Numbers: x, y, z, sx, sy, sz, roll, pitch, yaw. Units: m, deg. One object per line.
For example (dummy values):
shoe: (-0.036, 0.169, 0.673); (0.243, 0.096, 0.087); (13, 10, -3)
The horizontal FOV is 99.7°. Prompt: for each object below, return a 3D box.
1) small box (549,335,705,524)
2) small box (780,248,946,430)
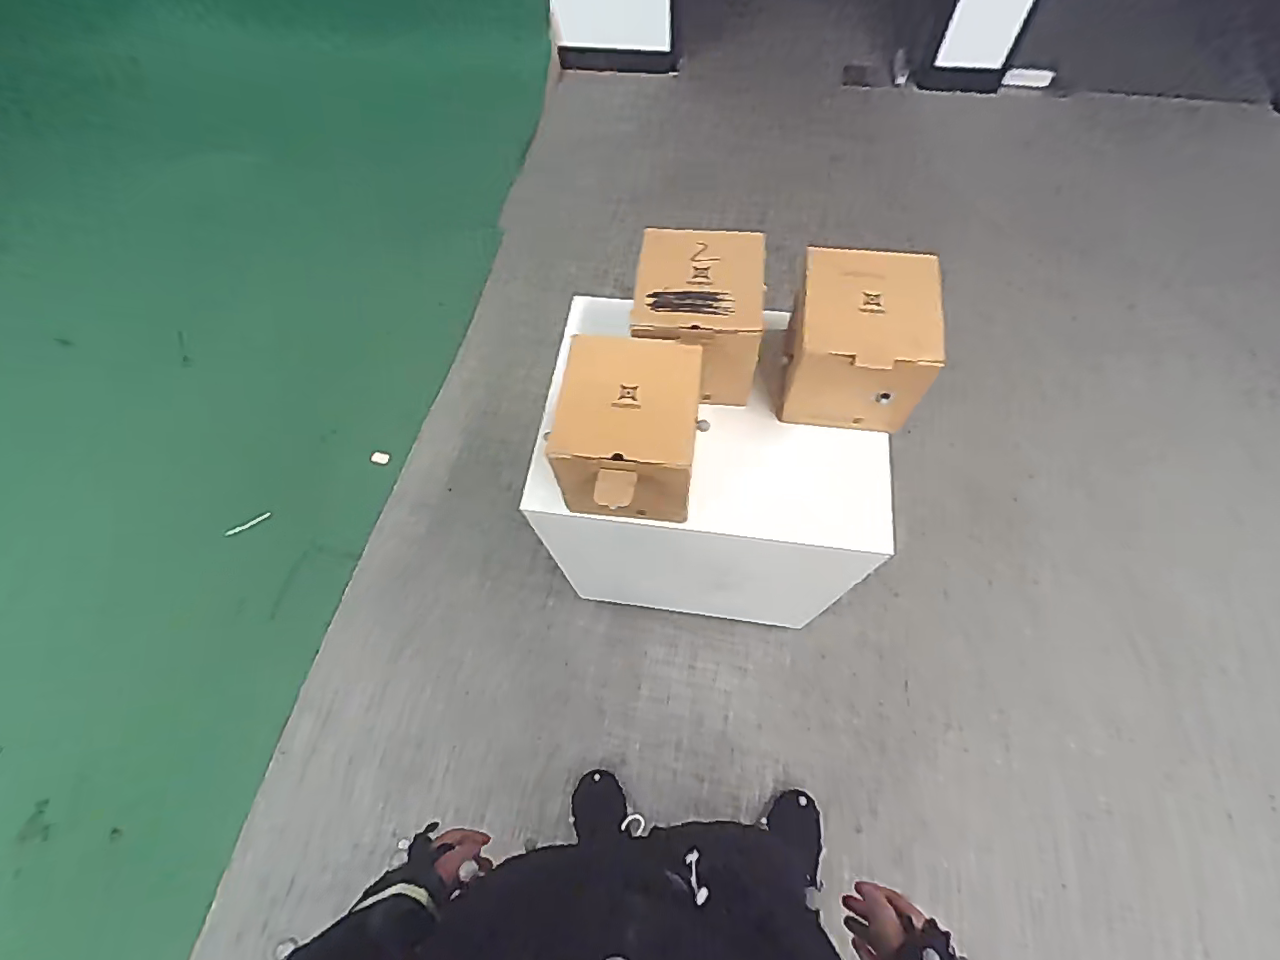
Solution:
small box: (-0.010, -0.060, 0.701); (0.168, 0.176, 0.179); (5, 65, 5)
small box: (0.292, -0.185, 0.741); (0.168, 0.176, 0.179); (6, 65, 5)
